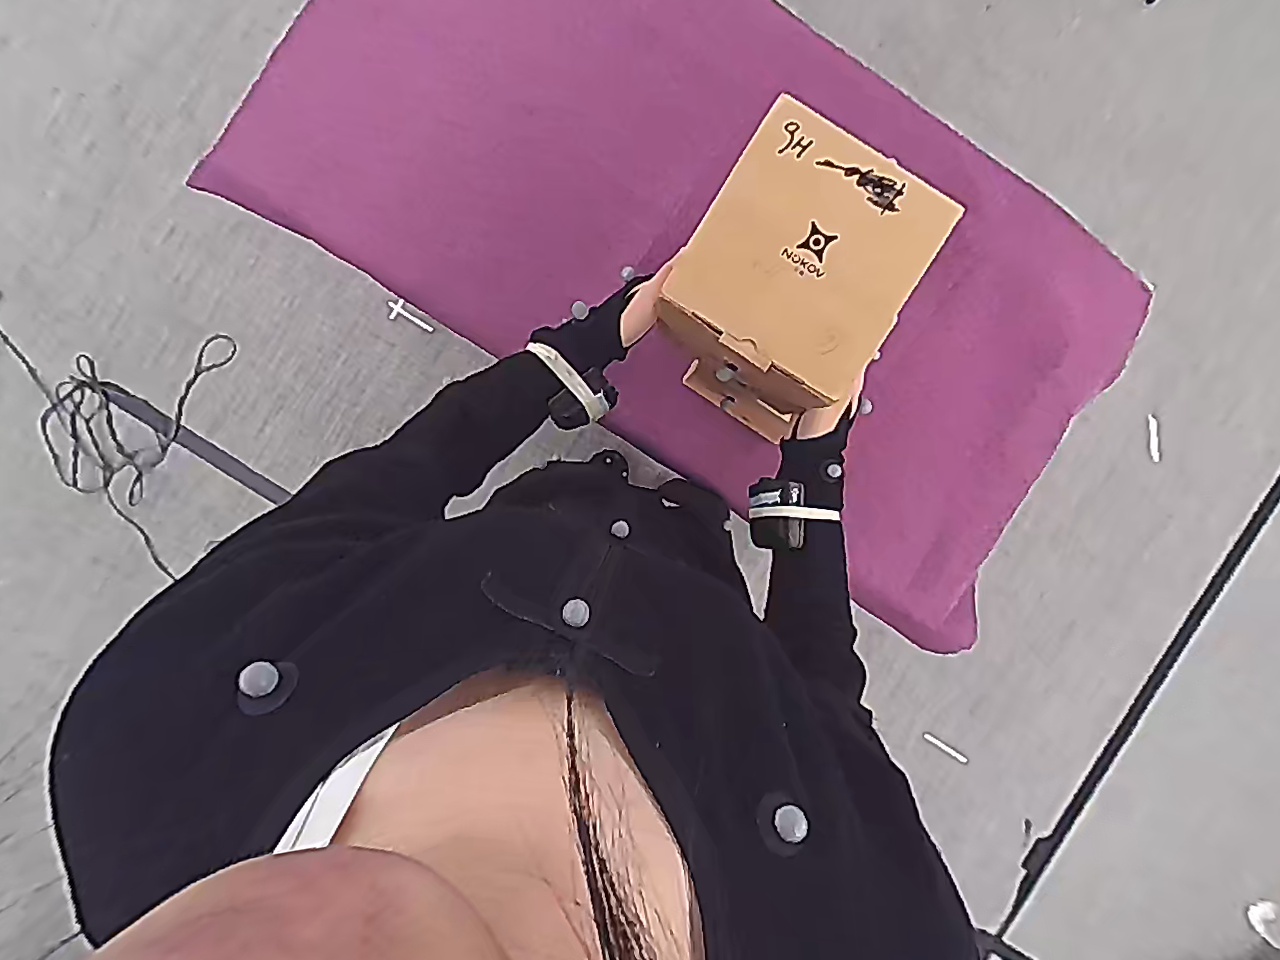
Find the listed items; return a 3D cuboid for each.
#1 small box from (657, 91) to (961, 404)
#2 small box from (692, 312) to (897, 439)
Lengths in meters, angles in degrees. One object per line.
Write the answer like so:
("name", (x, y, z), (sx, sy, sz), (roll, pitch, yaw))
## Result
("small box", (0.132, -0.182, 0.490), (0.168, 0.176, 0.179), (33, 96, -1))
("small box", (0.181, -0.165, 0.698), (0.168, 0.176, 0.179), (33, 90, -4))
